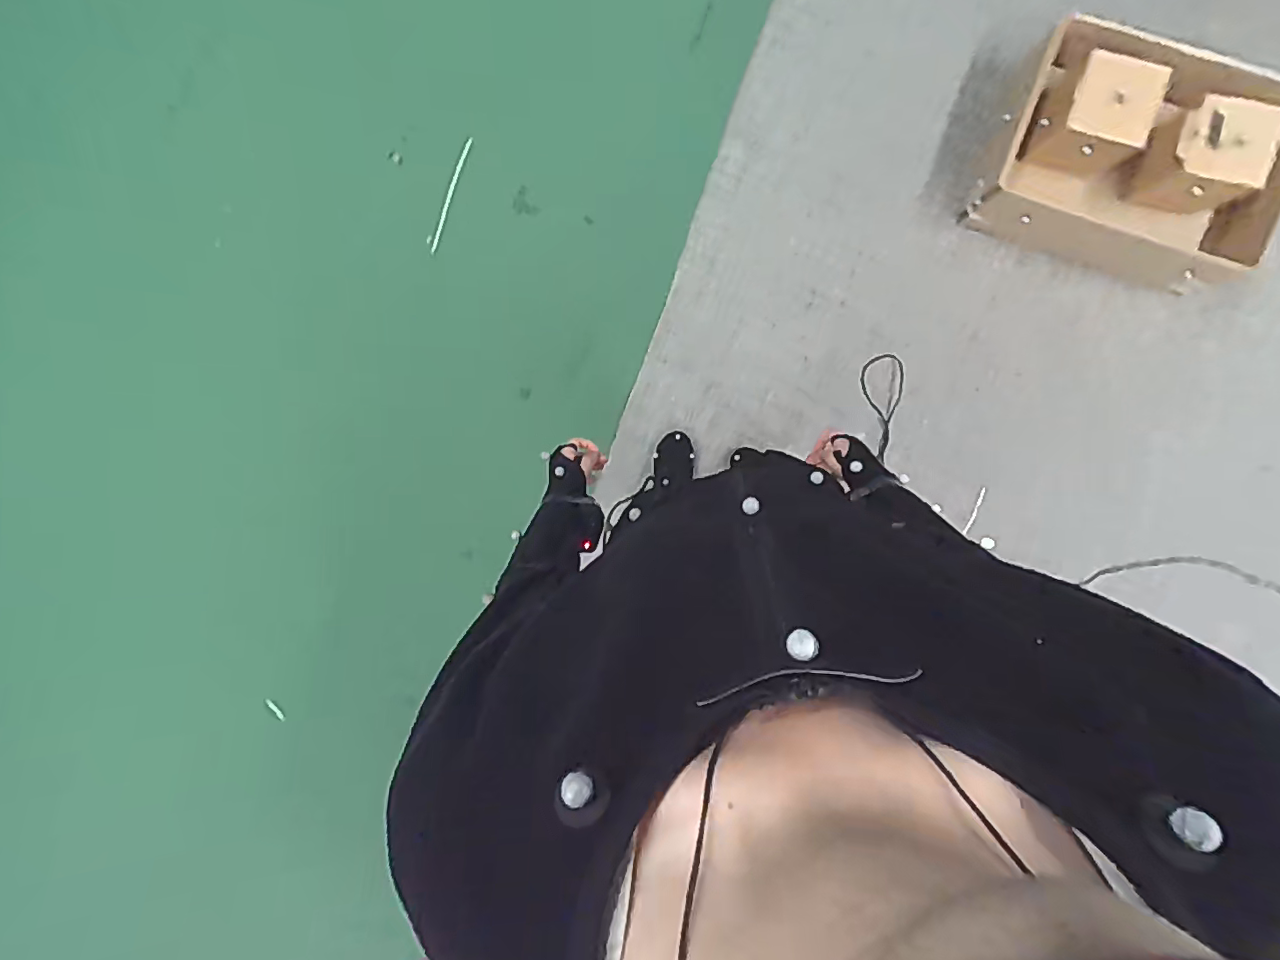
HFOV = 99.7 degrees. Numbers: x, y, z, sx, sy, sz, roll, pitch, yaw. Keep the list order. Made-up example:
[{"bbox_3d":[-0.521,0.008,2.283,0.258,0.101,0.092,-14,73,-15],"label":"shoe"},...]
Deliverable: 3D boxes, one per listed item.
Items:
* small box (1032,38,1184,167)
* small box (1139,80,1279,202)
[{"bbox_3d":[1.045,-0.844,1.228,0.179,0.176,0.168,15,98,2],"label":"small box"},{"bbox_3d":[1.294,-0.751,1.216,0.179,0.176,0.168,12,97,4],"label":"small box"}]
